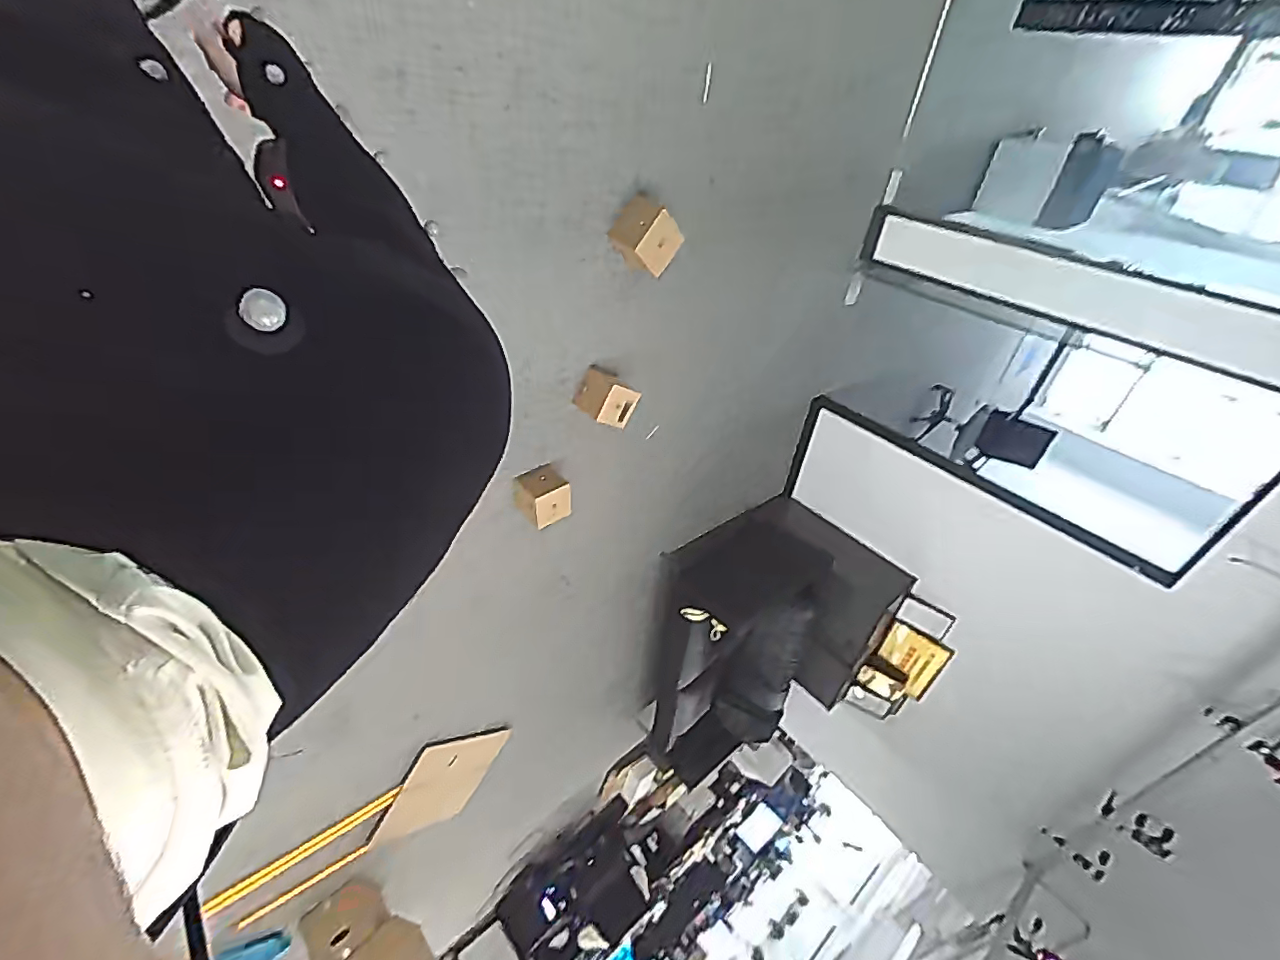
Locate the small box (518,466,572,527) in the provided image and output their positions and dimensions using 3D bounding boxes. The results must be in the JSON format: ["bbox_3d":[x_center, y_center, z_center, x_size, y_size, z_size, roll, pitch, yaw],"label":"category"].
[{"bbox_3d":[-0.404,0.060,2.286,0.168,0.176,0.179,-26,138,-30],"label":"small box"}]
